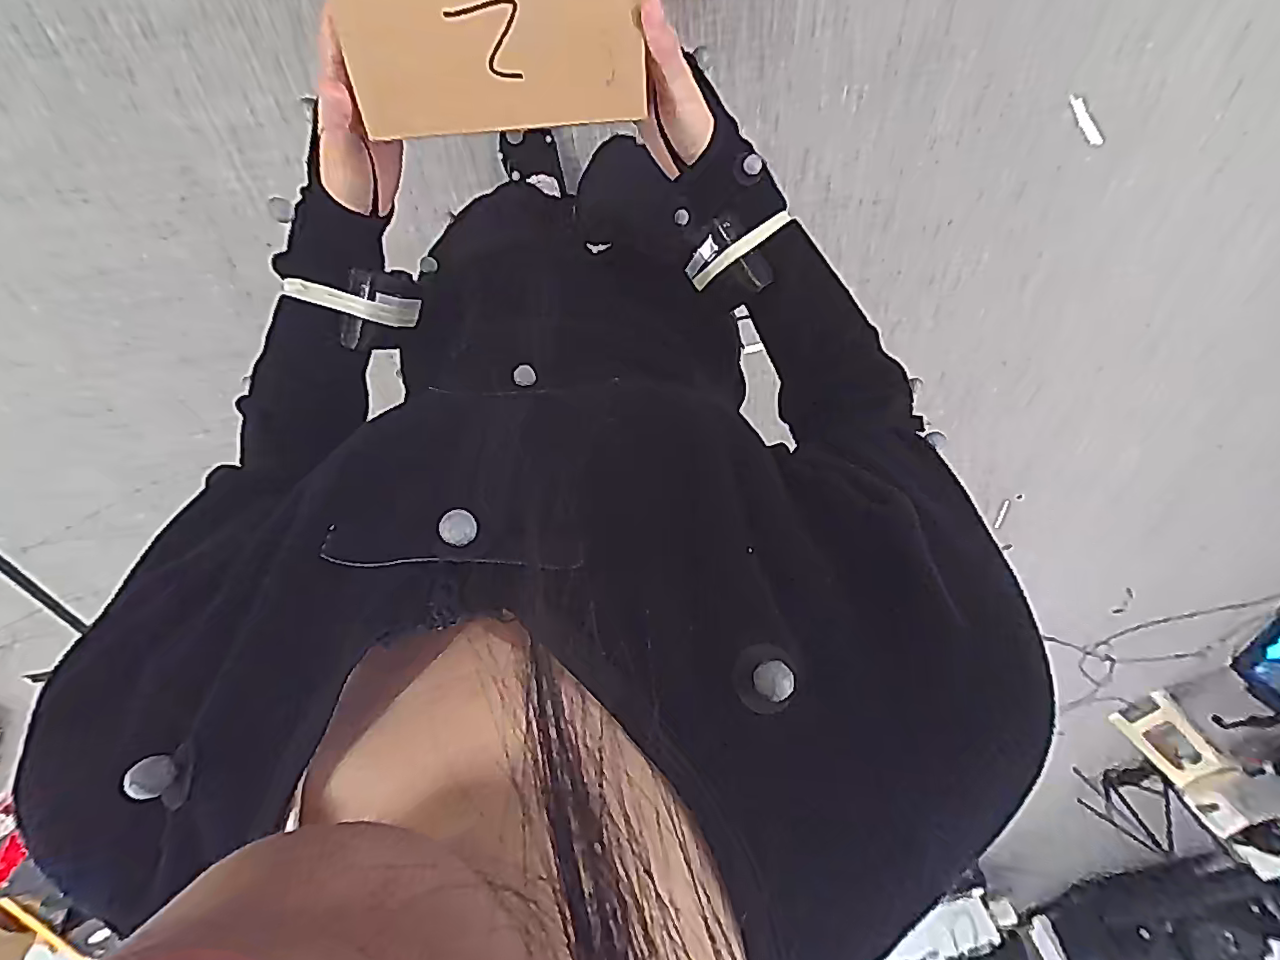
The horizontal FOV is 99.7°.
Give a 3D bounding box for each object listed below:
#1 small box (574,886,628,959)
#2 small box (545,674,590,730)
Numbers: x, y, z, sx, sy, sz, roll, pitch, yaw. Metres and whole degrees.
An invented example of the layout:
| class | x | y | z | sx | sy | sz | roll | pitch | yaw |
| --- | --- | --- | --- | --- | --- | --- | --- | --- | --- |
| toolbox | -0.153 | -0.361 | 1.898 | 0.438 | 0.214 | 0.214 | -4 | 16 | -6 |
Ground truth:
| class | x | y | z | sx | sy | sz | roll | pitch | yaw |
| --- | --- | --- | --- | --- | --- | --- | --- | --- | --- |
| small box | -0.143 | 1.595 | 1.942 | 0.179 | 0.176 | 0.168 | -9 | 129 | -4 |
| small box | -0.319 | 0.964 | 2.355 | 0.179 | 0.176 | 0.168 | 3 | 126 | -13 |
